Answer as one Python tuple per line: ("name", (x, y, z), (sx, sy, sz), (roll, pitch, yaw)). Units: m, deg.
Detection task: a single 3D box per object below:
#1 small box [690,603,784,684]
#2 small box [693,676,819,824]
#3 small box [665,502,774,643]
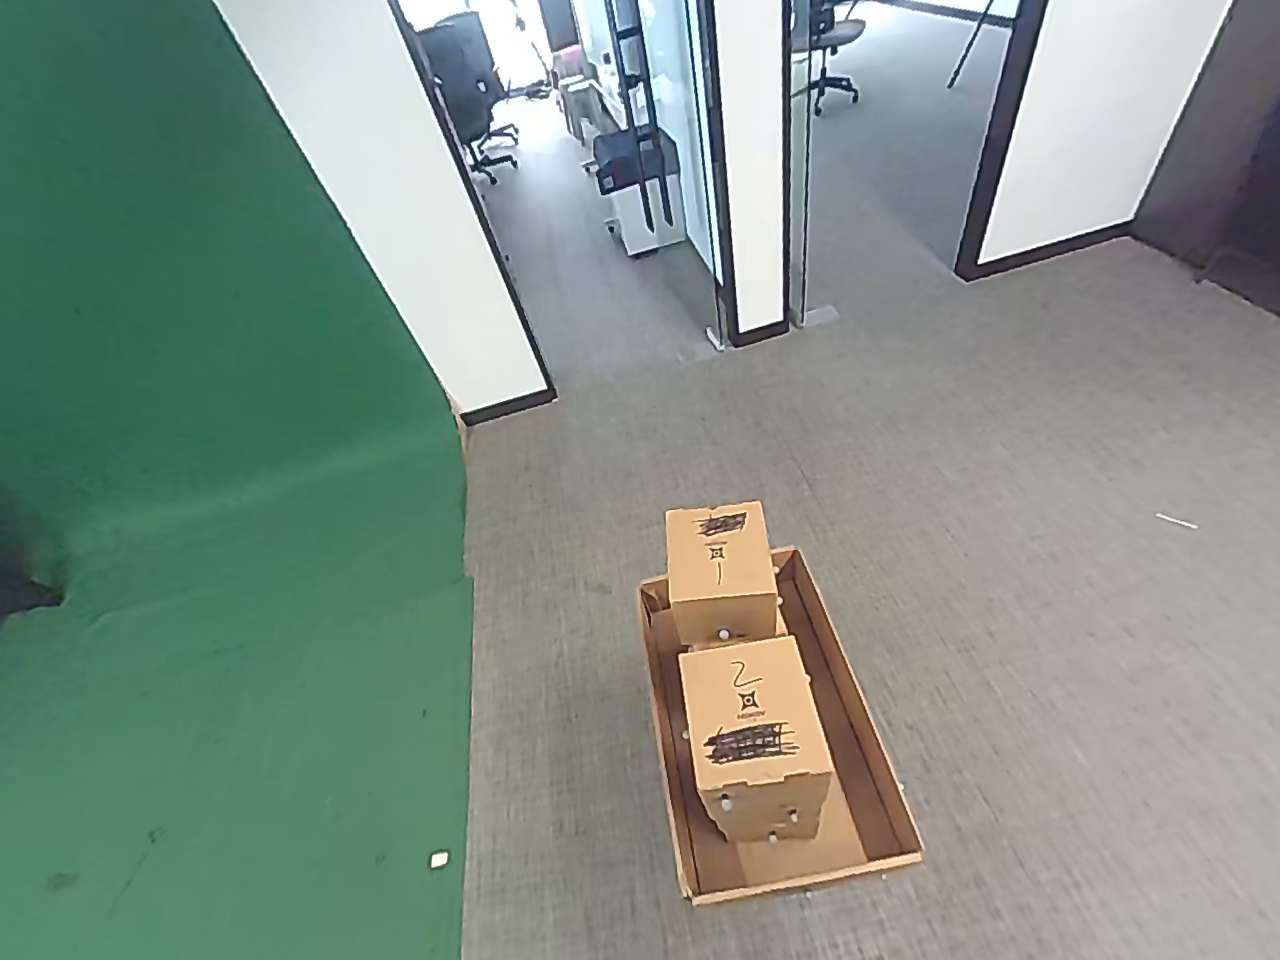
("small box", (0.171, 0.269, 1.048), (0.168, 0.176, 0.179), (-14, 49, 2))
("small box", (0.186, 0.444, 0.880), (0.168, 0.176, 0.179), (-9, 46, 6))
("small box", (0.135, 0.161, 0.930), (0.168, 0.176, 0.179), (-7, 50, 8))
